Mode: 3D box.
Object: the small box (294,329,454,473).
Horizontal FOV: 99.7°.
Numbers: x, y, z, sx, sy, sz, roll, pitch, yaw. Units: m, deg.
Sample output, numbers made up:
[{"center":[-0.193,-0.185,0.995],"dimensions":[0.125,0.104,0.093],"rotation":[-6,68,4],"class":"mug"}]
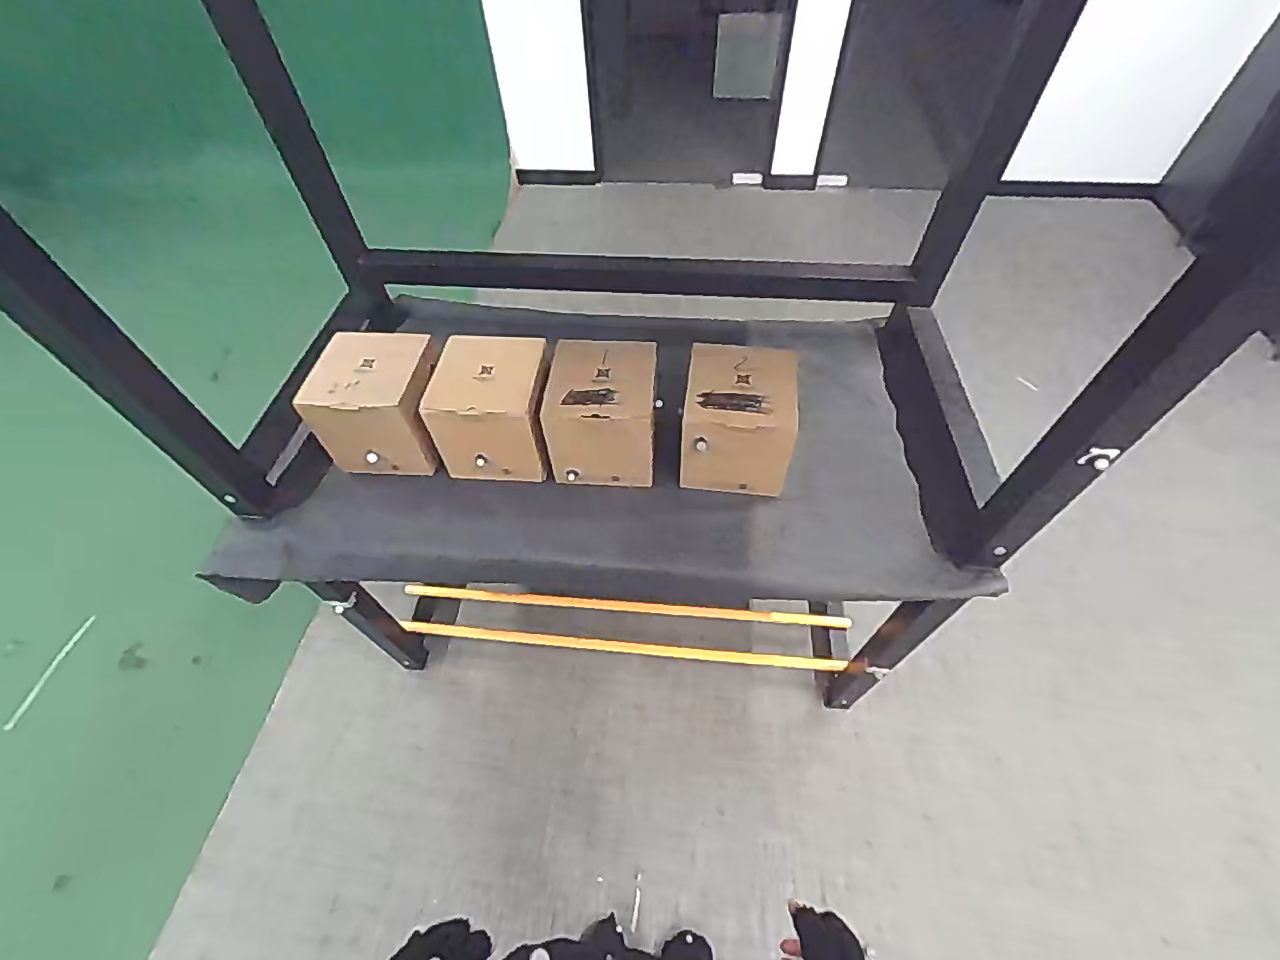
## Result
[{"center":[-0.433,-0.134,0.921],"dimensions":[0.168,0.176,0.179],"rotation":[2,53,3],"class":"small box"}]
